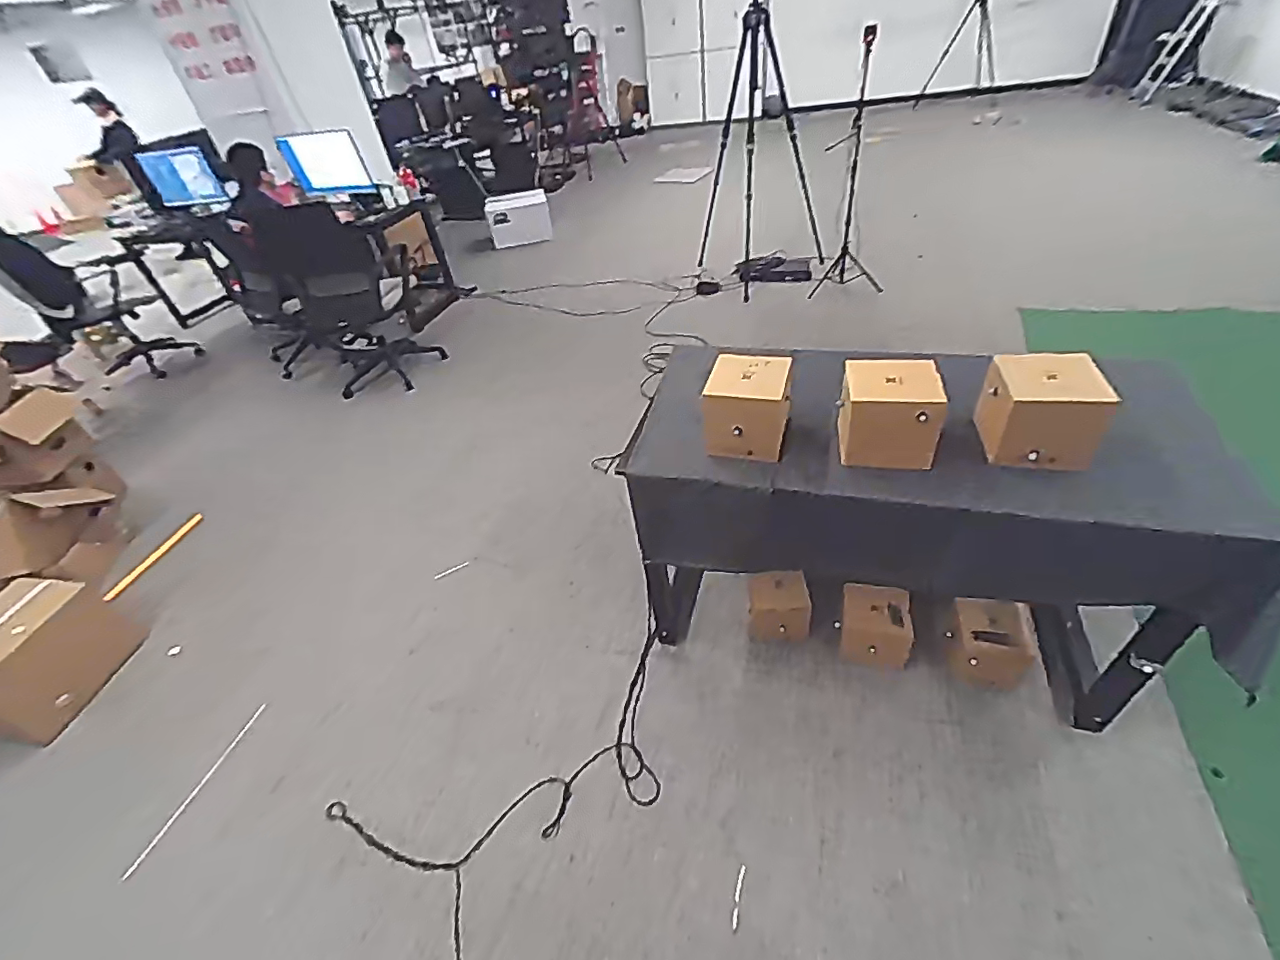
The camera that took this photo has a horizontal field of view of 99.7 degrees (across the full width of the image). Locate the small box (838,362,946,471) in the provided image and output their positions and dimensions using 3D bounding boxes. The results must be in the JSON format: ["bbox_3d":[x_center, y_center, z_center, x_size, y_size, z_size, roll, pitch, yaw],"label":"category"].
[{"bbox_3d":[0.518,-0.133,1.140,0.179,0.176,0.168,3,42,14],"label":"small box"}]

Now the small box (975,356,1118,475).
[{"bbox_3d":[0.795,-0.132,1.083,0.168,0.176,0.179,4,42,16],"label":"small box"}]

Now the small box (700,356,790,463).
[{"bbox_3d":[0.240,-0.159,1.216,0.168,0.176,0.179,8,43,18],"label":"small box"}]

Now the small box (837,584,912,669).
[{"bbox_3d":[0.676,0.430,1.575,0.179,0.176,0.168,4,42,17],"label":"small box"}]
